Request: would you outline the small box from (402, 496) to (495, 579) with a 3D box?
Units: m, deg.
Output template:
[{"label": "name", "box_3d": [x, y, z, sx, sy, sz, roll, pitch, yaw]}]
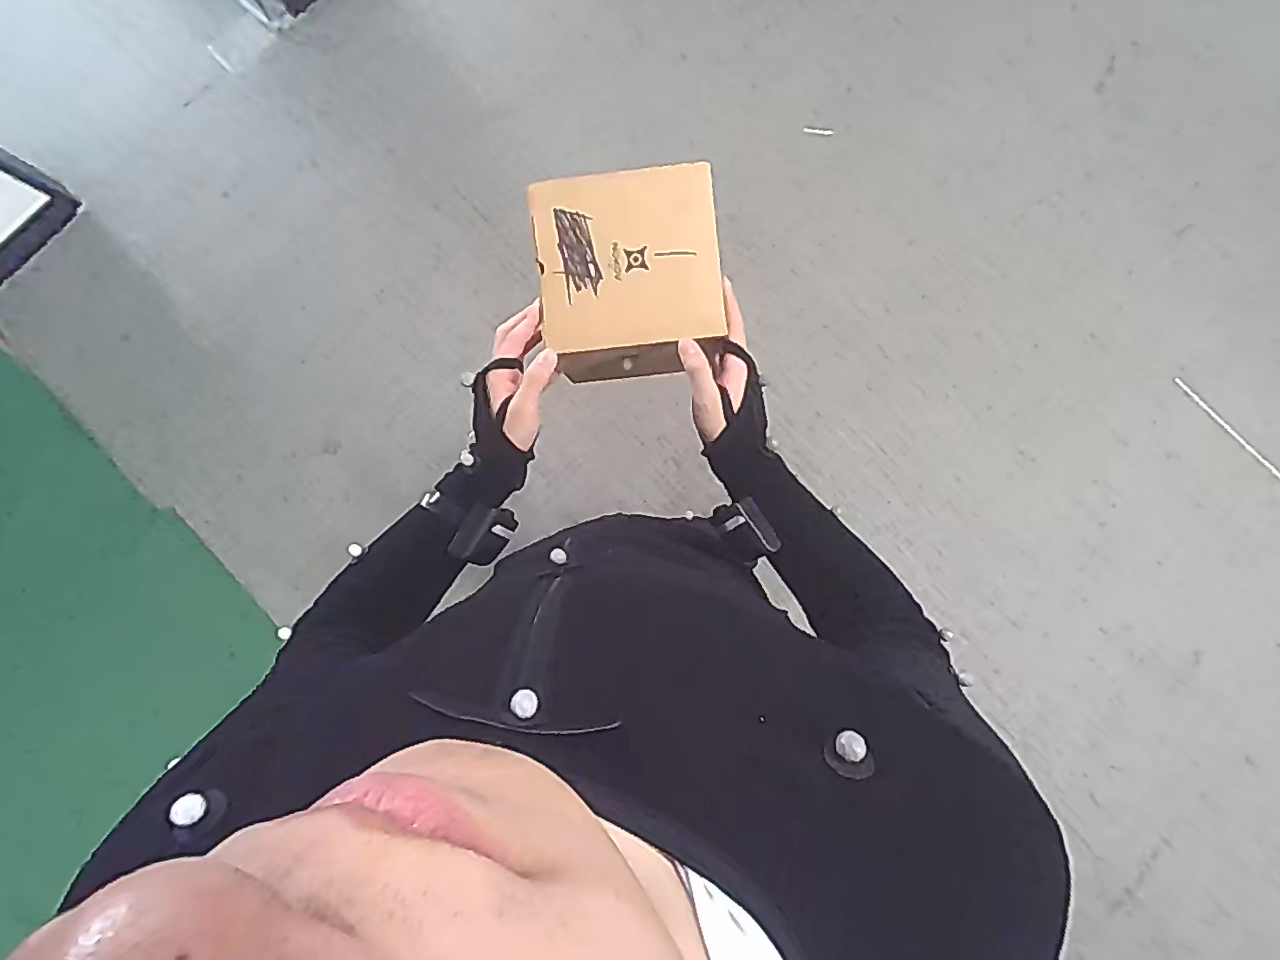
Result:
[{"label": "small box", "box_3d": [-0.543, 0.165, 1.573, 0.179, 0.176, 0.168, -40, 86, -3]}]

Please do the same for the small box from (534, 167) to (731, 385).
[{"label": "small box", "box_3d": [-0.005, -0.203, 0.587, 0.179, 0.176, 0.168, -6, 90, 1]}]
